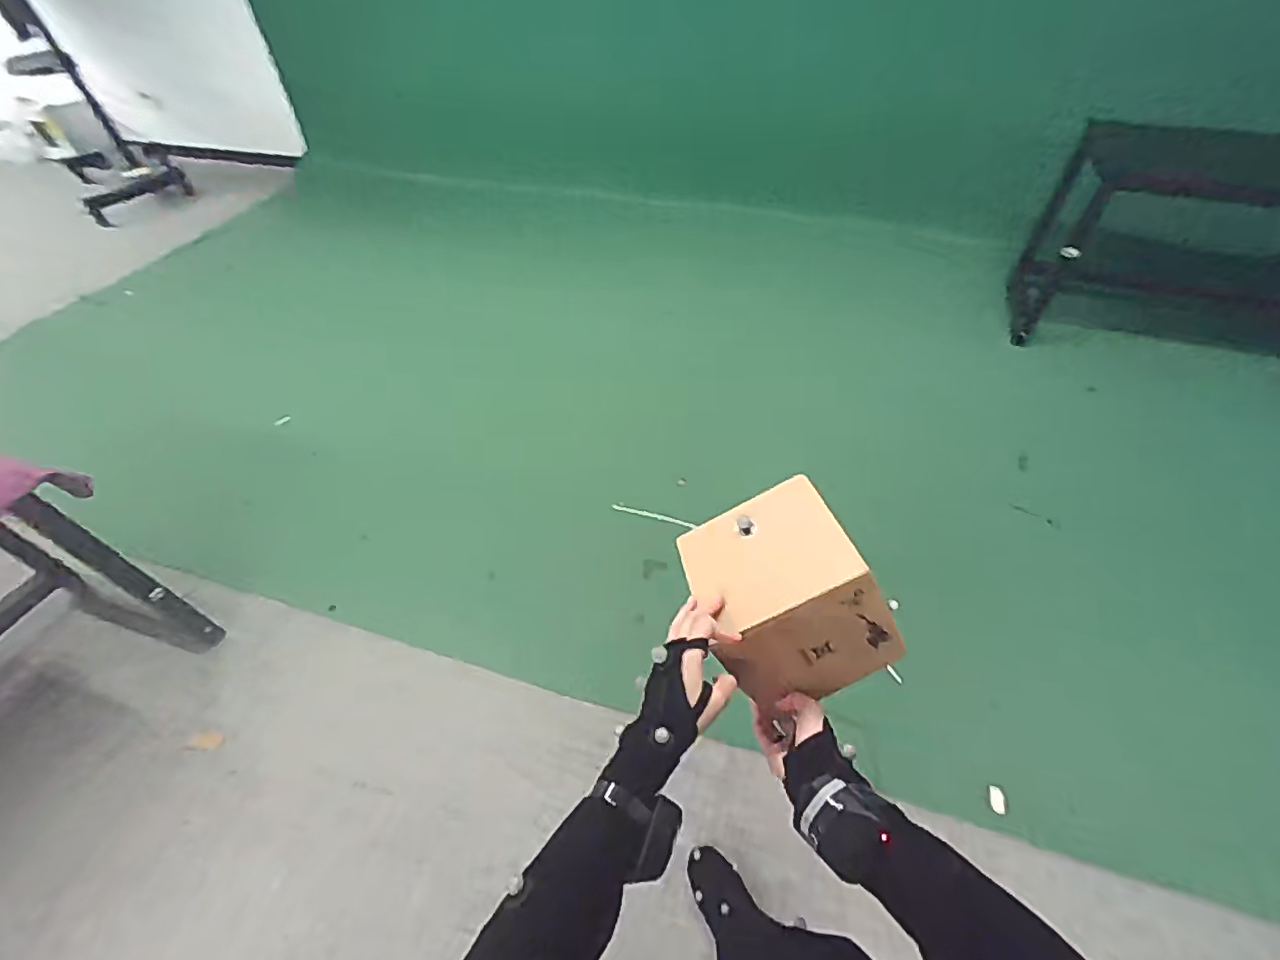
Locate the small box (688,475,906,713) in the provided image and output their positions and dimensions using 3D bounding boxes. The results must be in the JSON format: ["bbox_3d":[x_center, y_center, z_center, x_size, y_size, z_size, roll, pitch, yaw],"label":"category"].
[{"bbox_3d":[0.168,0.128,0.625,0.179,0.168,0.176,-28,35,11],"label":"small box"}]
